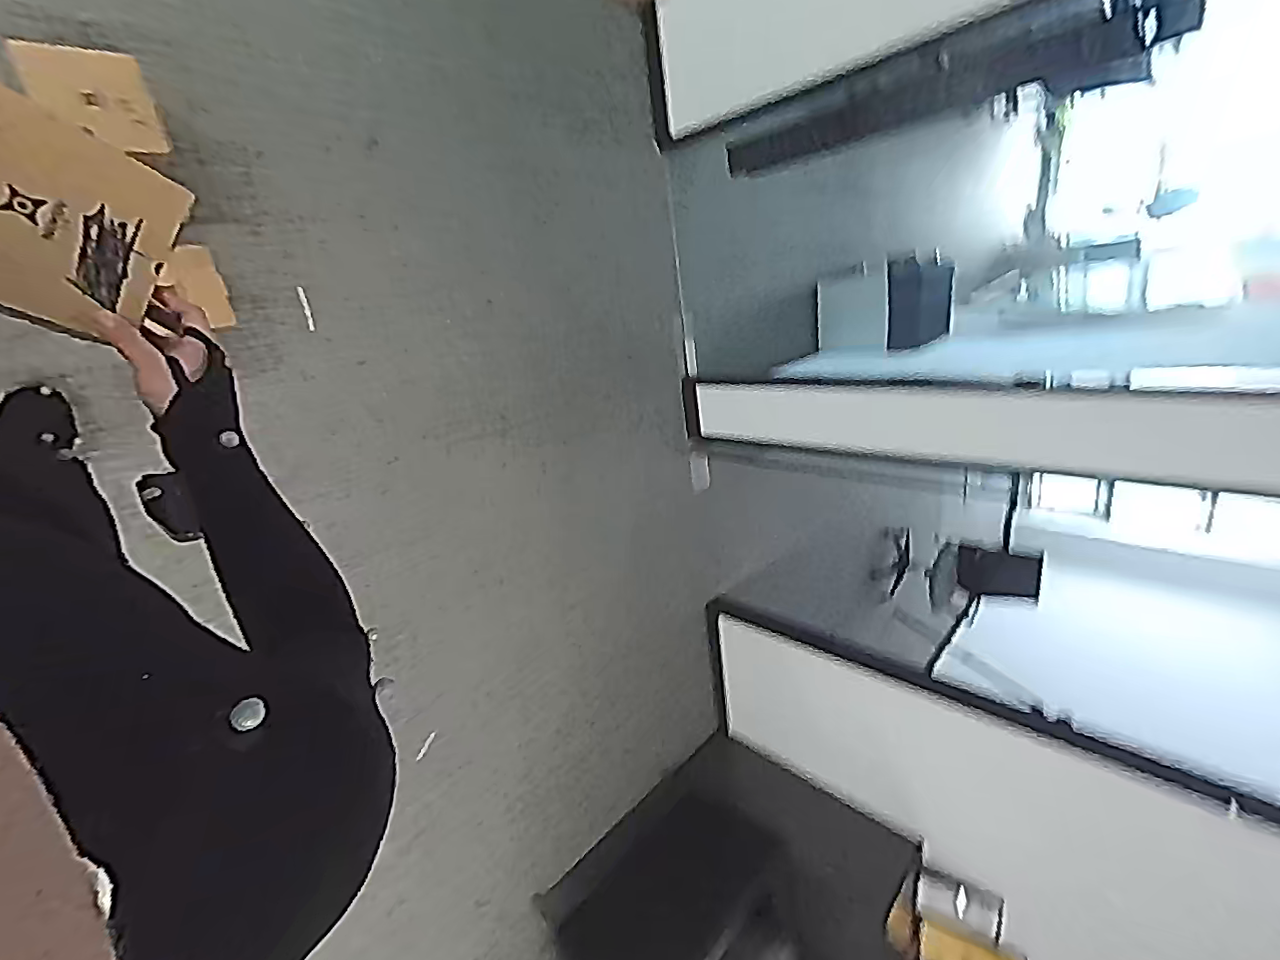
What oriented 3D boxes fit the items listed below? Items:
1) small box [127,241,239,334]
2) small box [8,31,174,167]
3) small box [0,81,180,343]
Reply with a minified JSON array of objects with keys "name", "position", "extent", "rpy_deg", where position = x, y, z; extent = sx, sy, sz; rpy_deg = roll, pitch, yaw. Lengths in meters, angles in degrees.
[{"name":"small box","position":[-0.996,-0.406,1.147],"extent":[0.179,0.176,0.168],"rpy_deg":[-24,115,-39]},{"name":"small box","position":[-1.038,-0.712,1.035],"extent":[0.179,0.176,0.168],"rpy_deg":[-25,116,-40]},{"name":"small box","position":[-0.565,-0.238,0.473],"extent":[0.179,0.176,0.168],"rpy_deg":[24,81,-57]}]
